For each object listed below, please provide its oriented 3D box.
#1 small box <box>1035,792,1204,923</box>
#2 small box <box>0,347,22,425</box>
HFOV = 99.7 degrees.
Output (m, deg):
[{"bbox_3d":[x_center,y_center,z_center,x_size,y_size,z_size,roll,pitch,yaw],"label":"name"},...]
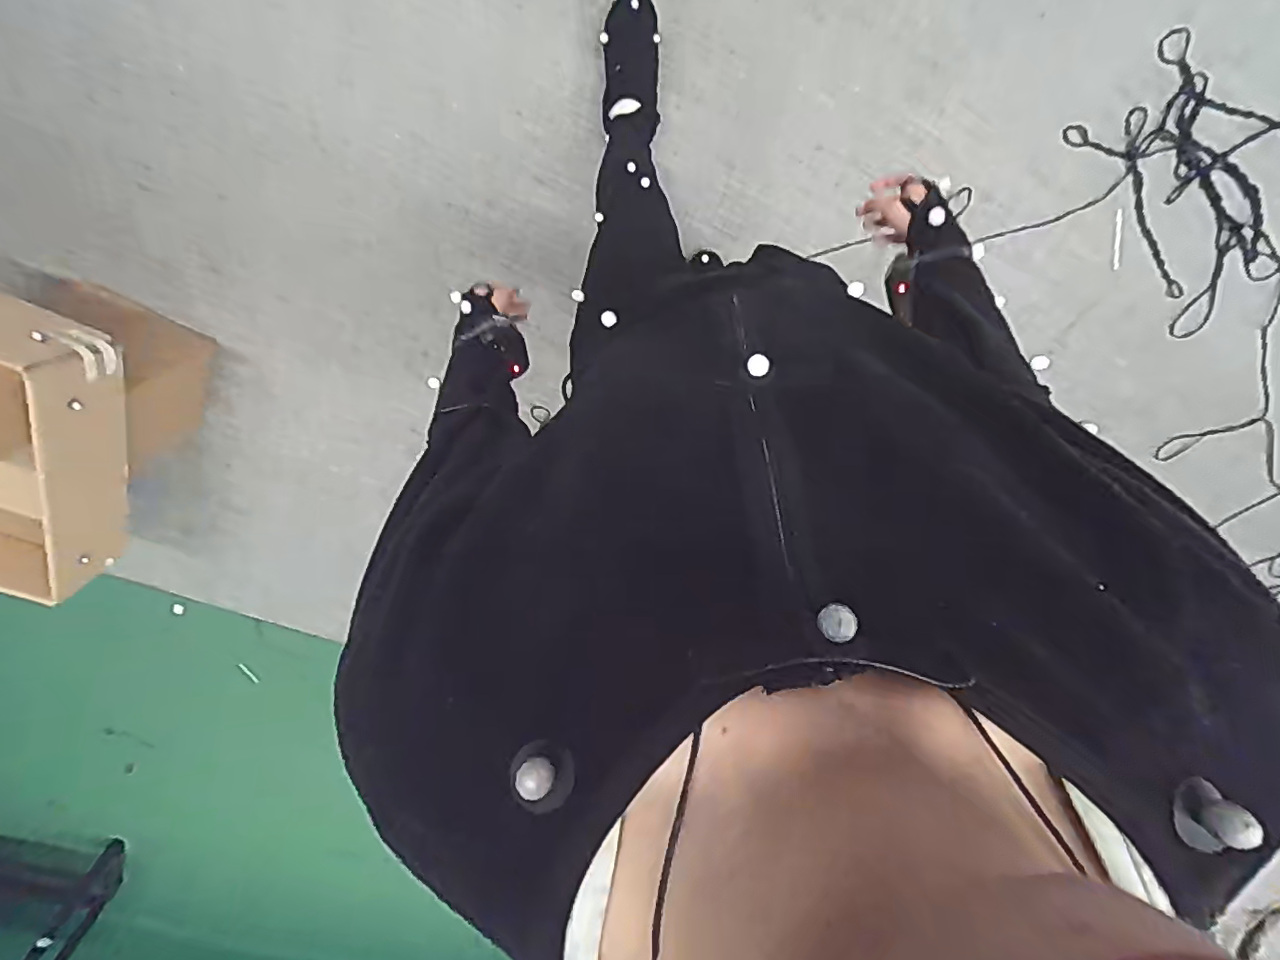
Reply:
[{"bbox_3d":[1.014,0.806,1.165,0.179,0.176,0.168,21,119,-12],"label":"small box"},{"bbox_3d":[-1.279,-0.172,0.958,0.179,0.176,0.168,25,120,-13],"label":"small box"}]
